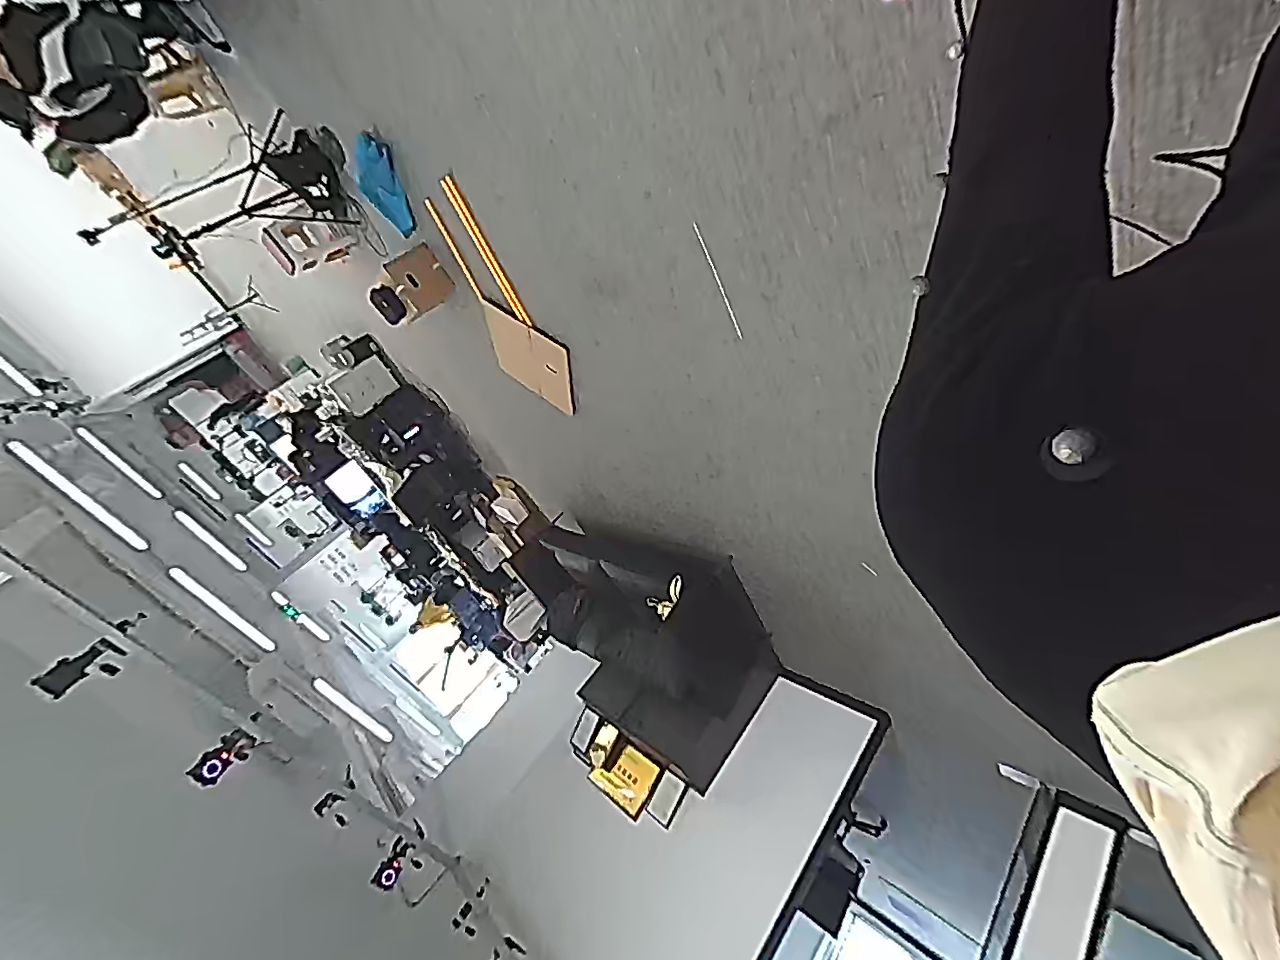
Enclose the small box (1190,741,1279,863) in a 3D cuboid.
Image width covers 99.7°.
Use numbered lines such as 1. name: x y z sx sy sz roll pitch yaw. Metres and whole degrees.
1. small box: 1.480 0.774 1.310 0.168 0.176 0.179 18 145 44
